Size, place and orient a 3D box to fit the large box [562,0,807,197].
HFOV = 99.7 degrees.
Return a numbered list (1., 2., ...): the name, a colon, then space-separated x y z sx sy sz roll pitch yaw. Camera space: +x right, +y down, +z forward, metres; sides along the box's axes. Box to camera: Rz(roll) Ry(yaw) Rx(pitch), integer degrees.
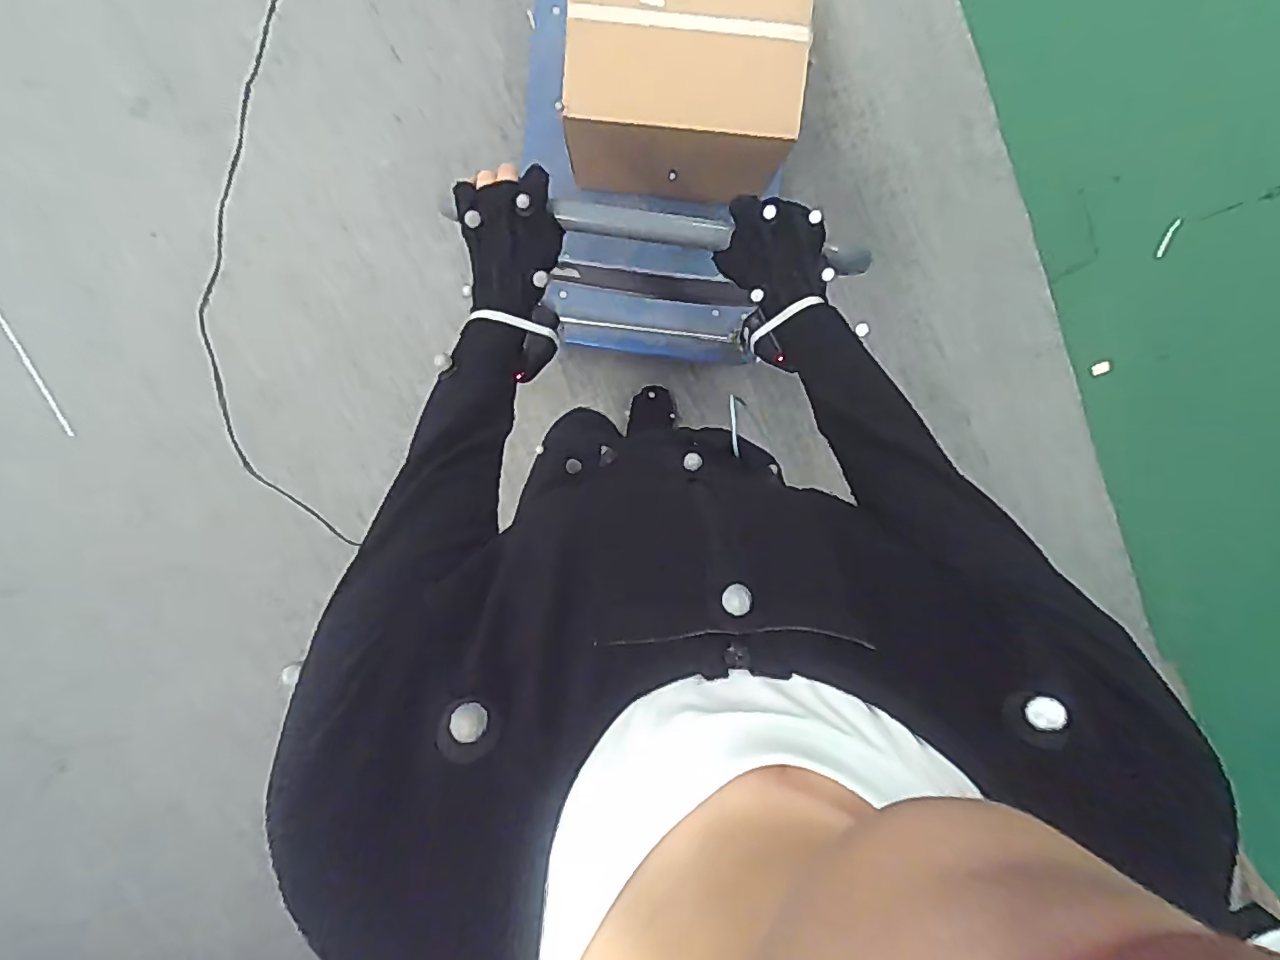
1. large box: 0.074 -0.770 1.039 0.408 0.320 0.320 4 97 -2
